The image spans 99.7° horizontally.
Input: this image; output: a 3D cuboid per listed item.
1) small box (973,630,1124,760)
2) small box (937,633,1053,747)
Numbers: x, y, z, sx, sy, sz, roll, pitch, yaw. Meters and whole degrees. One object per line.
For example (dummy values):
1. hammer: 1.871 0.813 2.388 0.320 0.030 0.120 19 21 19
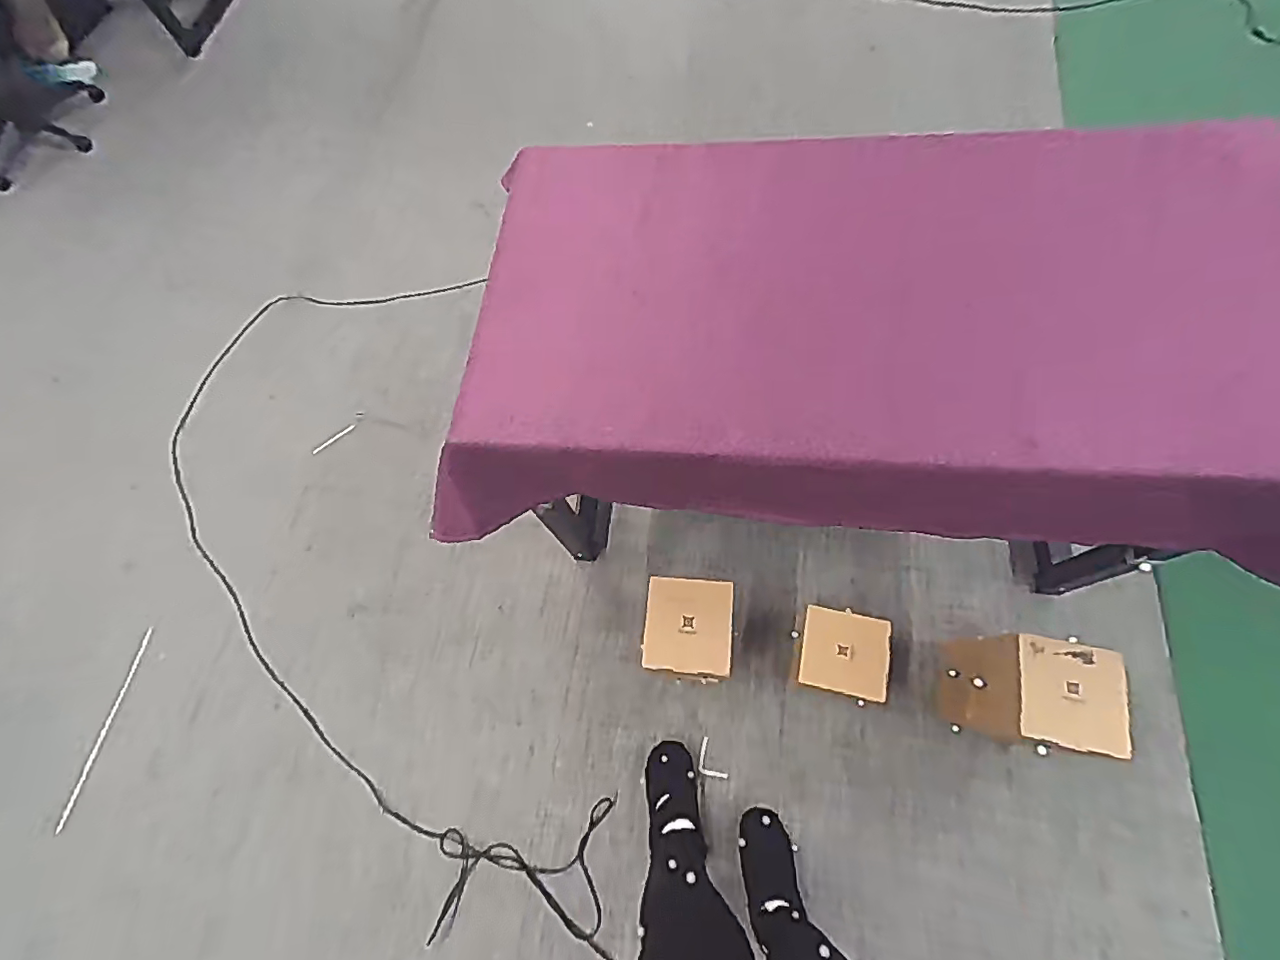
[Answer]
1. small box: 0.736 0.388 0.990 0.168 0.176 0.179 10 70 11
2. small box: 0.752 0.443 1.145 0.168 0.176 0.179 14 69 12
